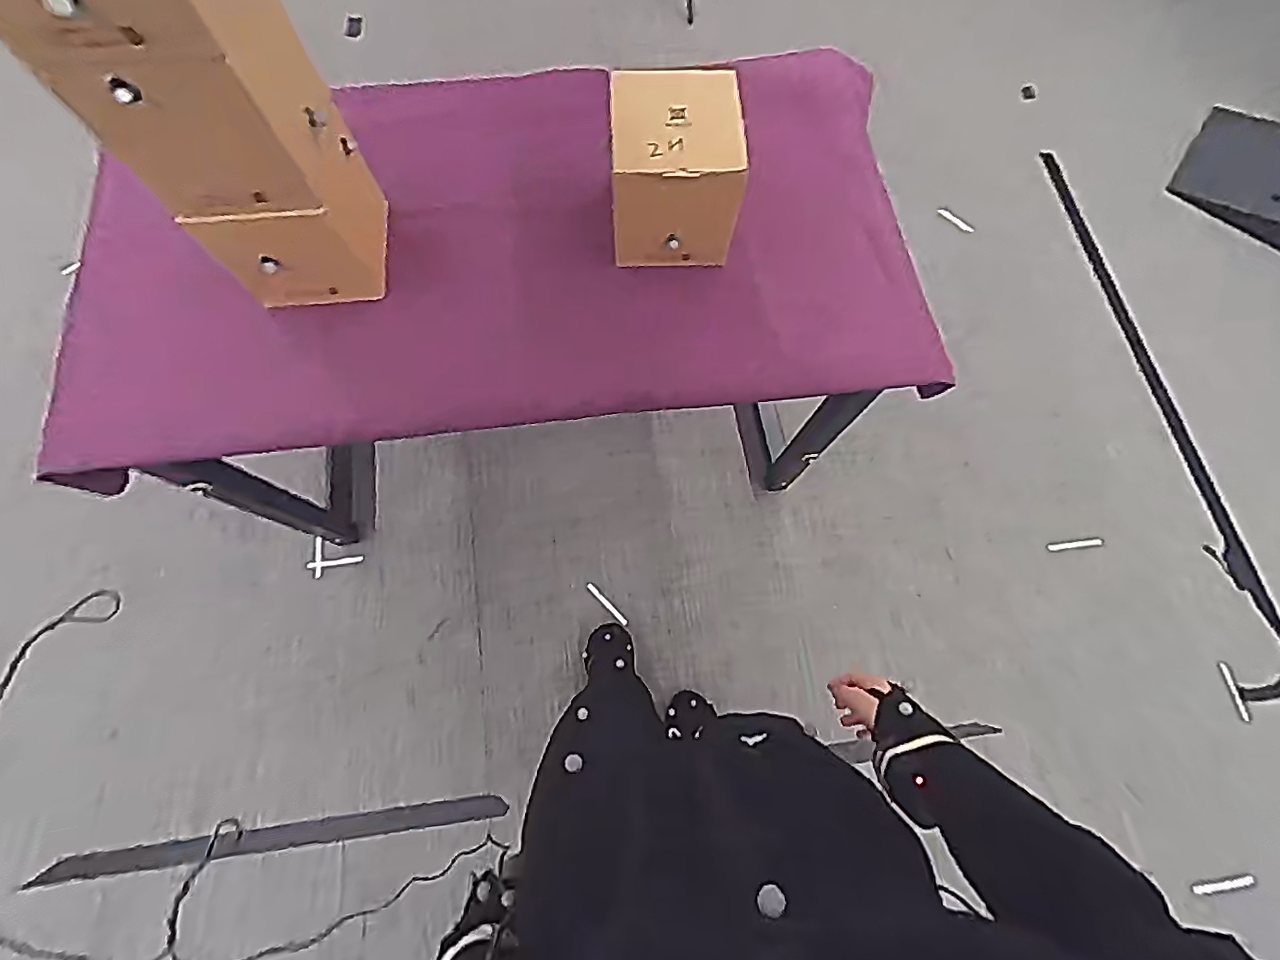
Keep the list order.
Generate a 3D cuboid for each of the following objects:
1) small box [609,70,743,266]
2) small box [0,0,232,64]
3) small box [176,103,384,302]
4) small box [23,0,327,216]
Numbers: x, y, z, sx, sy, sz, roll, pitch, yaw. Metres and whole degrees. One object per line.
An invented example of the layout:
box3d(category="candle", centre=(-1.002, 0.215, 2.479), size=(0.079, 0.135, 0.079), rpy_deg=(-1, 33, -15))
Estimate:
box3d(category="small box", centre=(0.040, -0.428, 0.758), size=(0.168, 0.176, 0.179), rpy_deg=(-2, 73, -2))
box3d(category="small box", centre=(-0.440, -0.457, 0.405), size=(0.168, 0.176, 0.179), rpy_deg=(-6, 73, -4))
box3d(category="small box", centre=(-0.456, -0.353, 0.716), size=(0.168, 0.176, 0.179), rpy_deg=(-6, 72, -4))
box3d(category="small box", centre=(-0.451, -0.409, 0.562), size=(0.168, 0.176, 0.179), rpy_deg=(-7, 72, -4))
